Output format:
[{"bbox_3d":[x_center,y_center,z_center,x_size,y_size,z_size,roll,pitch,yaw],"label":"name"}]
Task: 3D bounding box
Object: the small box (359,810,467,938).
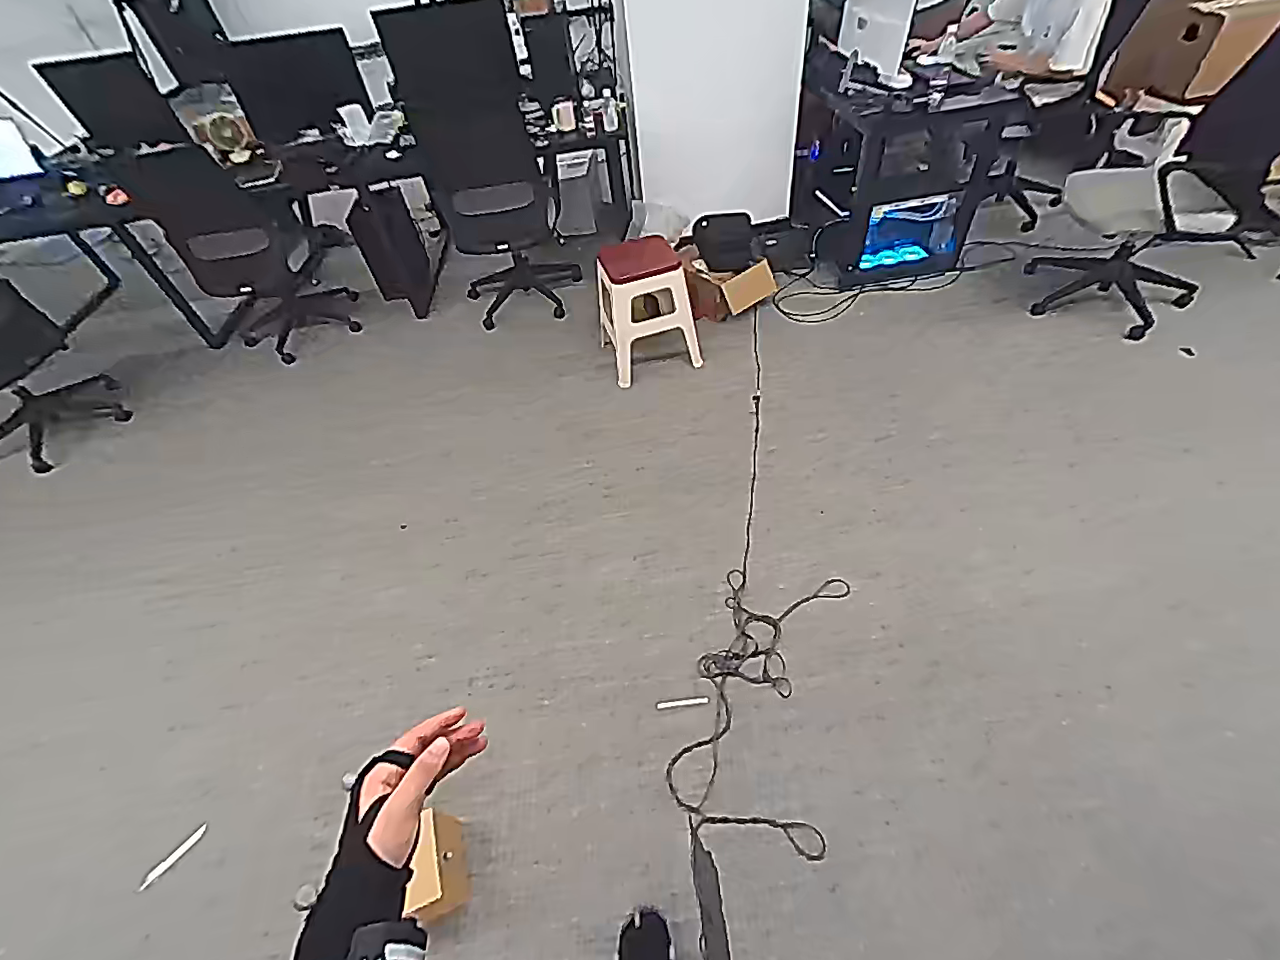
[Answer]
[{"bbox_3d":[-0.496,0.869,1.192,0.168,0.176,0.179,-21,48,-9],"label":"small box"}]
